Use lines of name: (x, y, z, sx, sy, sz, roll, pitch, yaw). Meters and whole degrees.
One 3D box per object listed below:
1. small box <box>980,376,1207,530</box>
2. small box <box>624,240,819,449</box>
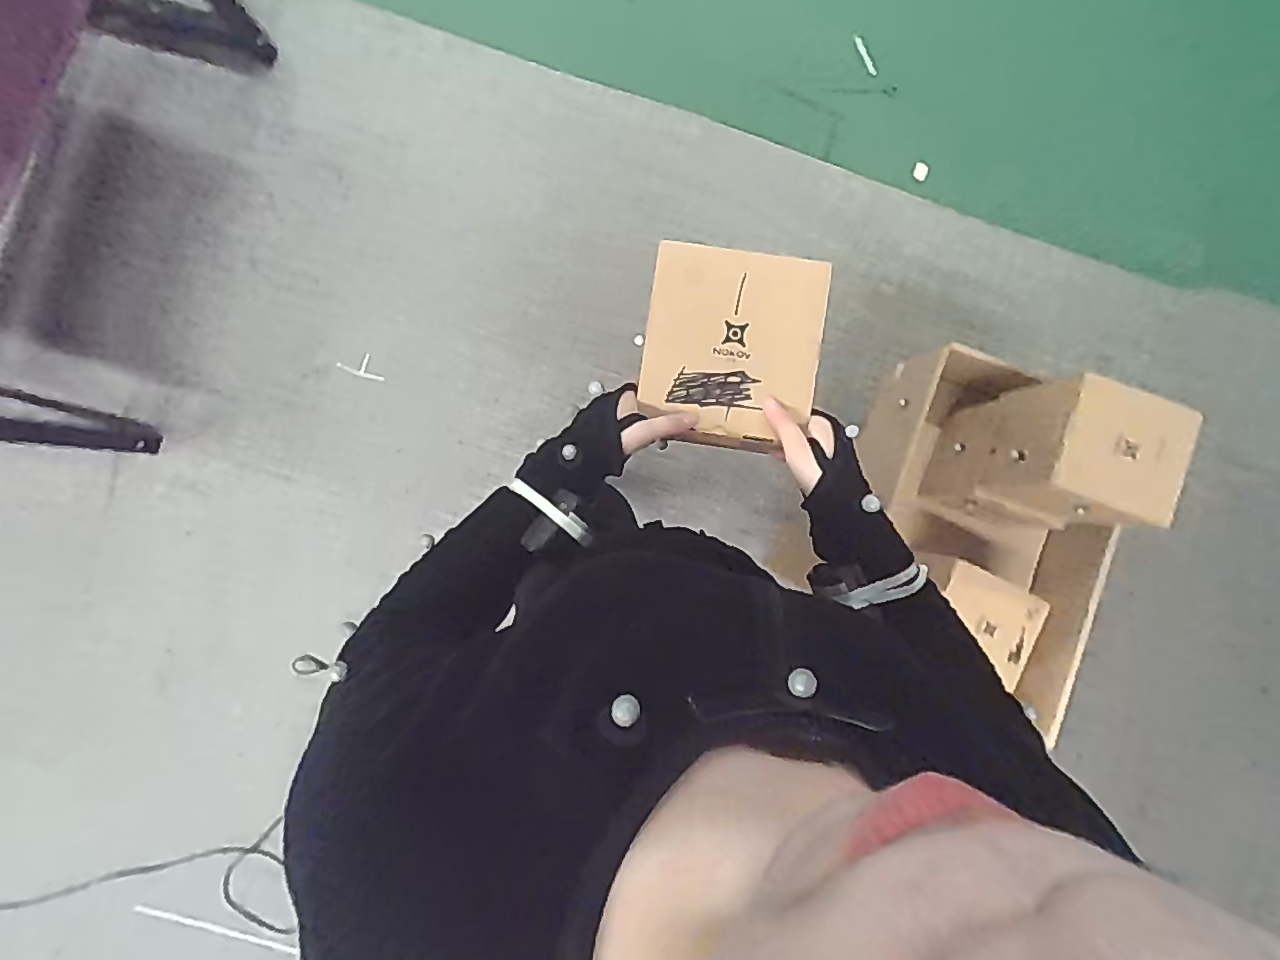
small box: (0.656, -0.033, 0.806, 0.179, 0.176, 0.168, 21, 88, -1)
small box: (0.080, -0.132, 0.589, 0.168, 0.176, 0.179, 8, 90, 2)
